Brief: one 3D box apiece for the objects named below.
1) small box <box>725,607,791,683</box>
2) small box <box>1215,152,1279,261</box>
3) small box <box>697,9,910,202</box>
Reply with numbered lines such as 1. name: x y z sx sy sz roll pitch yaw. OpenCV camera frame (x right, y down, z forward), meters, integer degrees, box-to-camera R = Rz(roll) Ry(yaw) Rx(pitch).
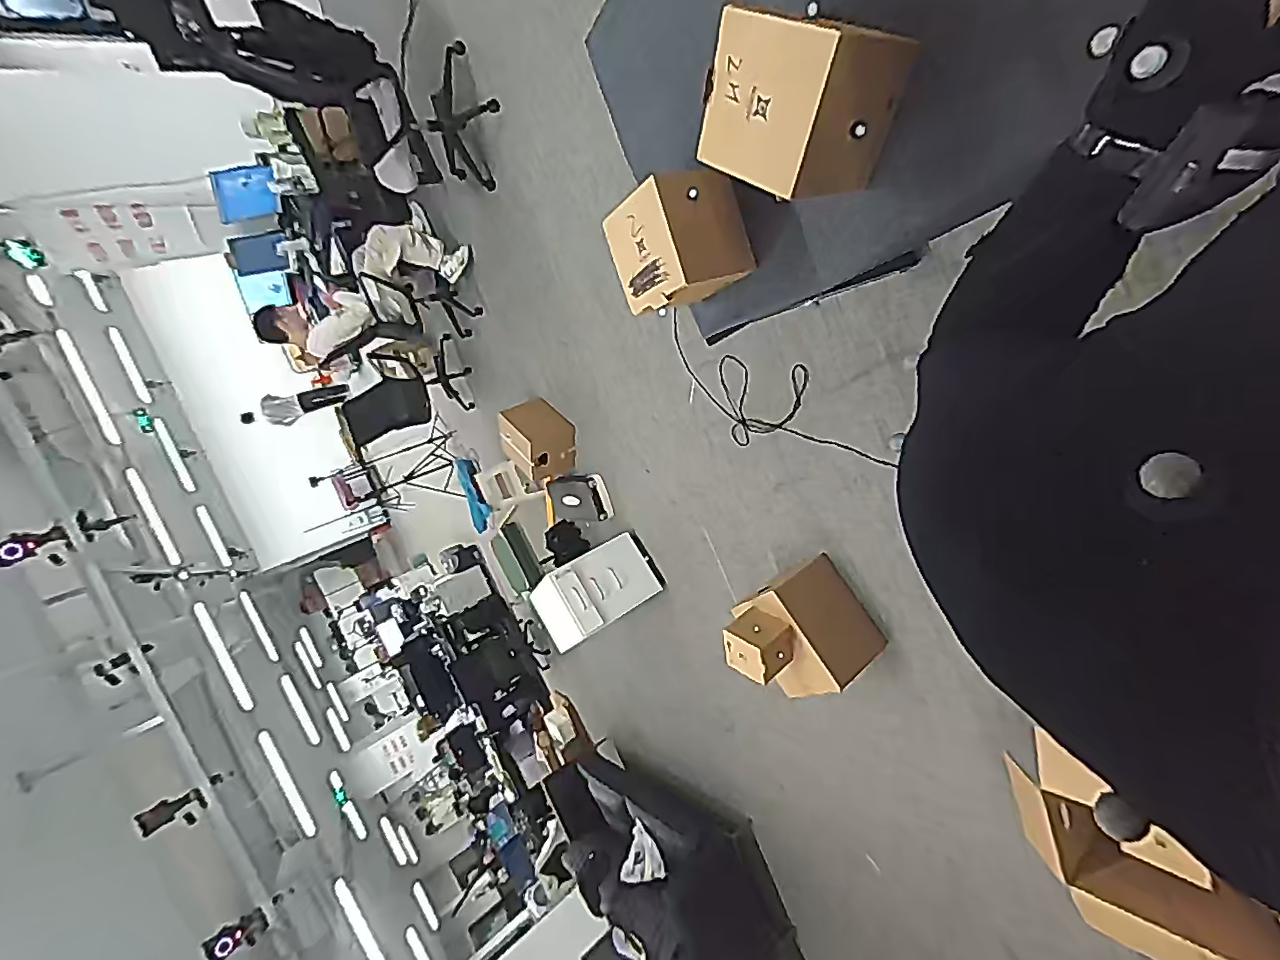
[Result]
1. small box: 0.433 0.590 1.957 0.179 0.176 0.168 18 126 48
2. small box: 1.072 -0.428 0.815 0.176 0.168 0.179 27 113 6
3. small box: 0.206 -0.483 0.698 0.179 0.176 0.168 44 143 30
